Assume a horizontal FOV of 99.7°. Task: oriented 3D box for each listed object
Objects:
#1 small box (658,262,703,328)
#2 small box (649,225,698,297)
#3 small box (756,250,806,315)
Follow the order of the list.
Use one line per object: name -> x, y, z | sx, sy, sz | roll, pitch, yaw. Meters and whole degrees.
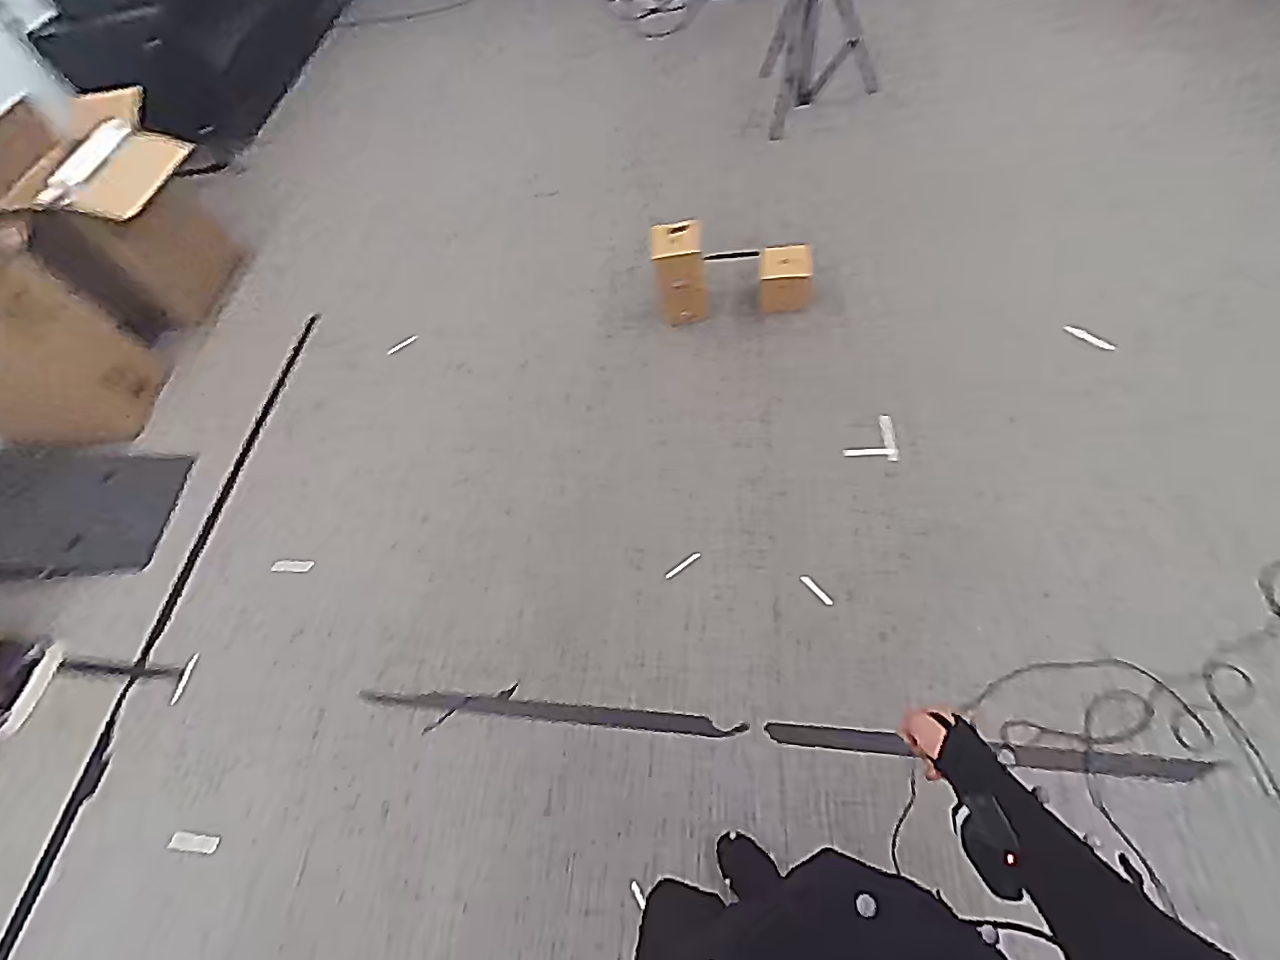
small box -> 0.158, -0.726, 2.126 | 0.168, 0.176, 0.179 | -6, 60, 7
small box -> 0.124, -0.801, 1.984 | 0.168, 0.176, 0.179 | -5, 61, 9
small box -> 0.535, -0.752, 2.071 | 0.179, 0.176, 0.168 | 1, 62, 10
